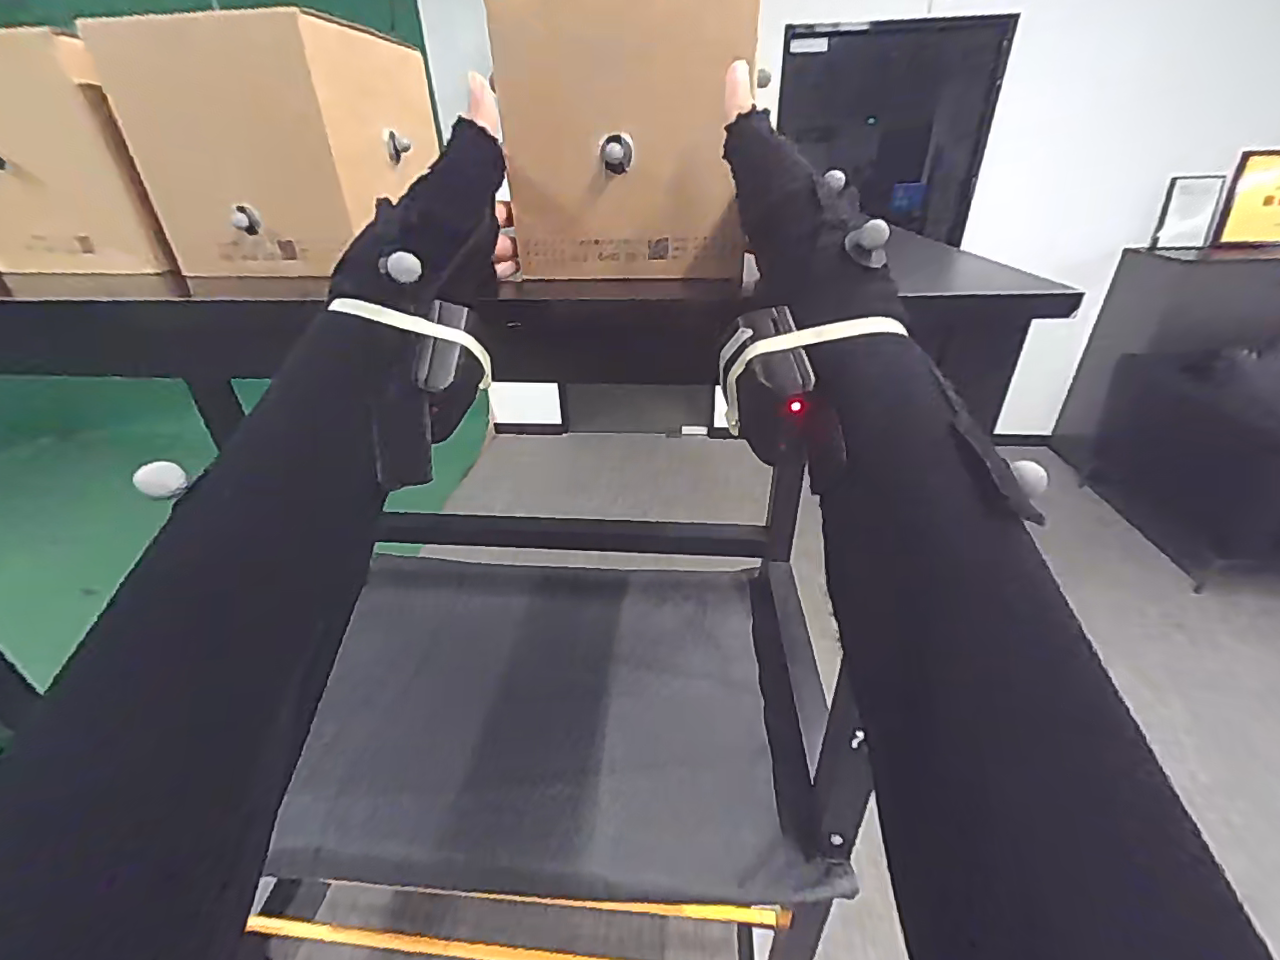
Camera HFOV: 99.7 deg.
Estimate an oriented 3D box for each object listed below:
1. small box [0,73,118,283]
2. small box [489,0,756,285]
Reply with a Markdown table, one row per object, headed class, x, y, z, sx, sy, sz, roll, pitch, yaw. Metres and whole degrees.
| class | x | y | z | sx | sy | sz | roll | pitch | yaw |
| --- | --- | --- | --- | --- | --- | --- | --- | --- | --- |
| small box | -0.673 | -0.292 | 0.523 | 0.168 | 0.176 | 0.179 | 3 | 32 | 7 |
| small box | 0.000 | -0.256 | 0.429 | 0.168 | 0.176 | 0.179 | 2 | 31 | 6 |
